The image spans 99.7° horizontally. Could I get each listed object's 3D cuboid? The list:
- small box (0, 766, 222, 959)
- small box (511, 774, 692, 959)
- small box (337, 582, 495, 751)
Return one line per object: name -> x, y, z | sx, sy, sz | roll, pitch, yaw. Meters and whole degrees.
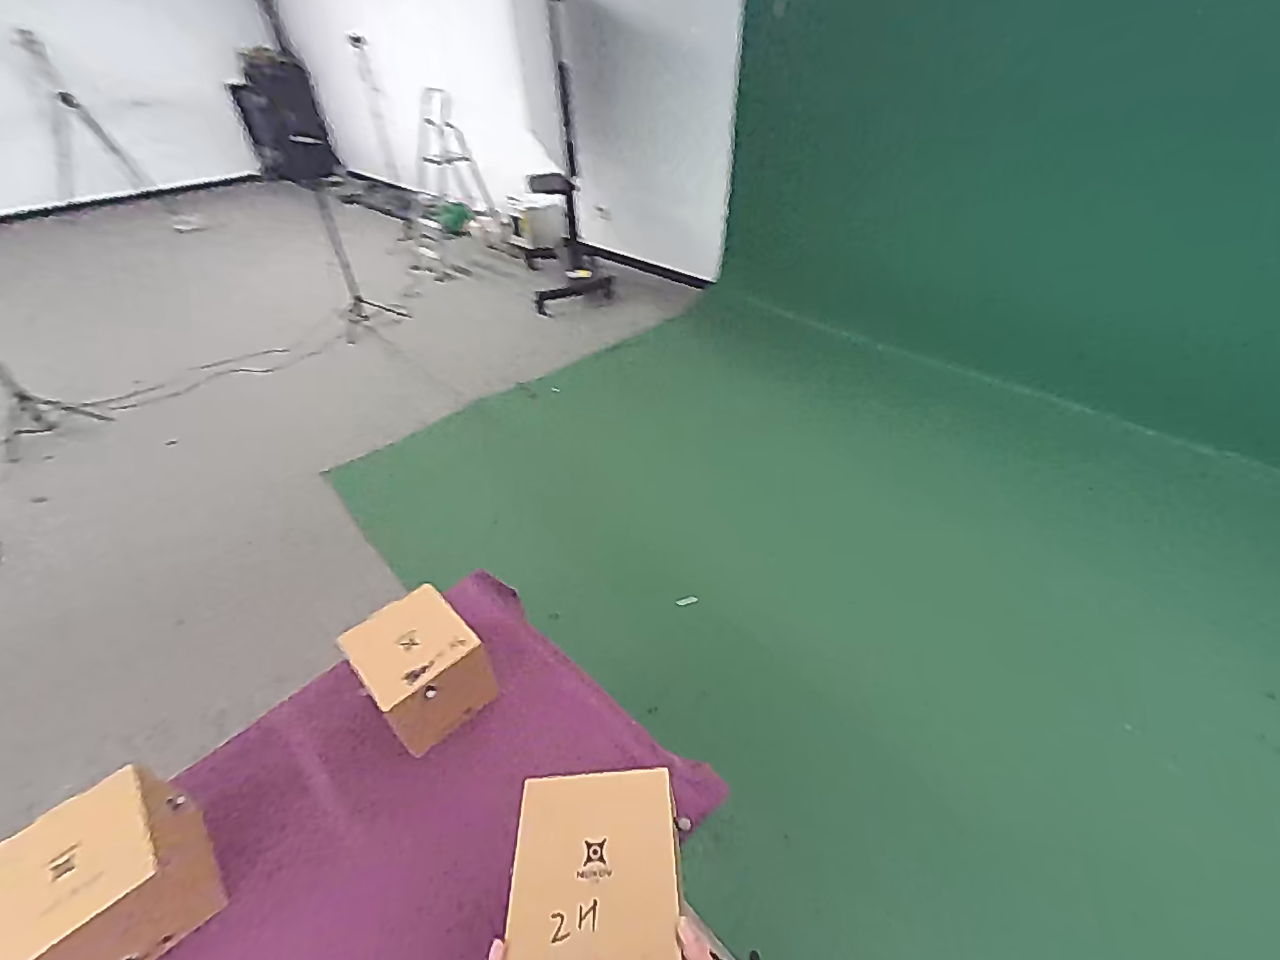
small box -> -0.686, 0.520, 0.693 | 0.168, 0.176, 0.179 | -33, 52, -30
small box -> -0.030, 0.453, 0.592 | 0.168, 0.176, 0.179 | -5, 38, 3
small box -> -0.372, 0.316, 0.917 | 0.179, 0.176, 0.168 | 33, 53, 32
